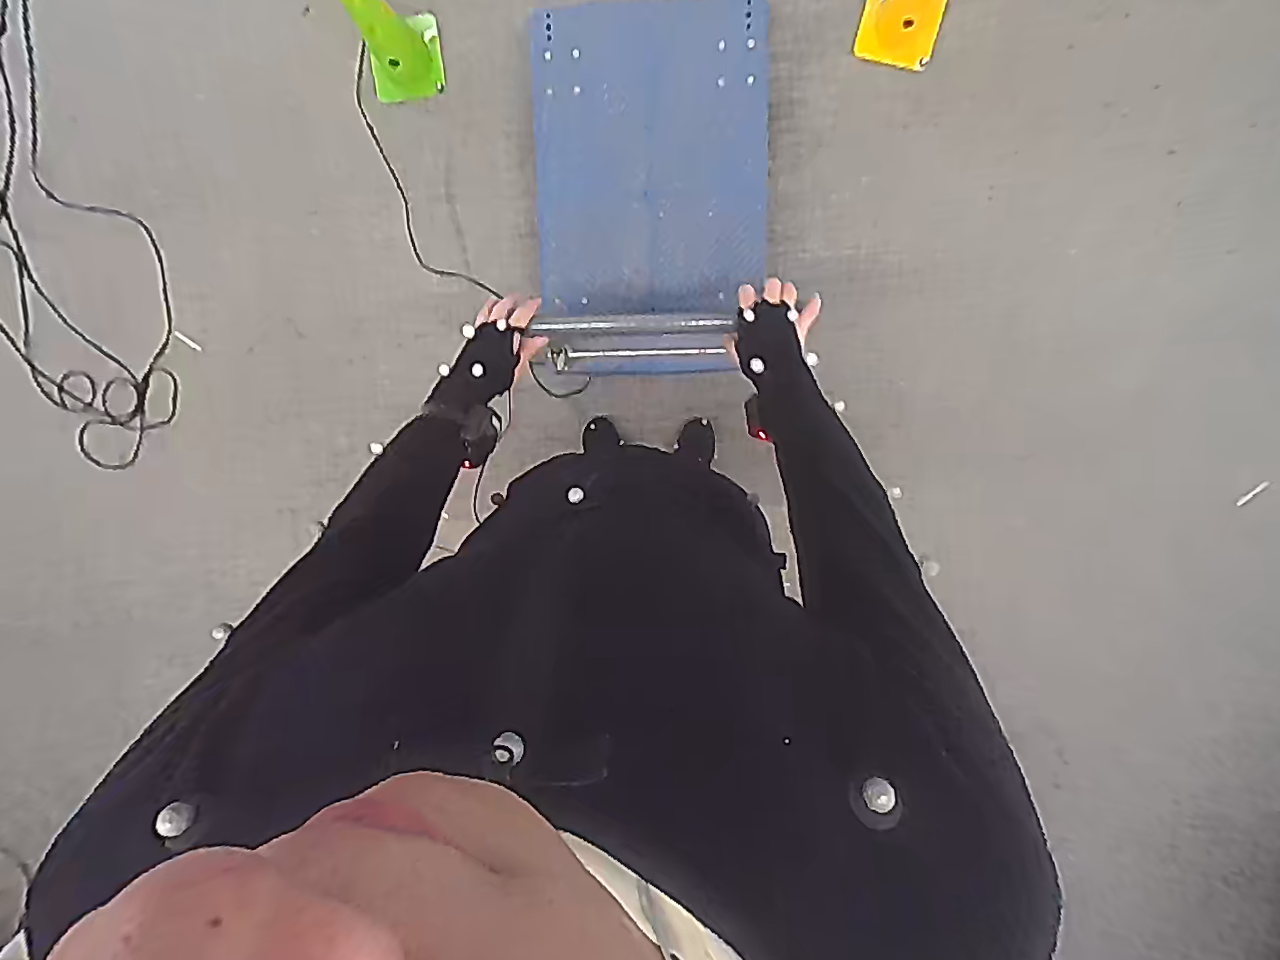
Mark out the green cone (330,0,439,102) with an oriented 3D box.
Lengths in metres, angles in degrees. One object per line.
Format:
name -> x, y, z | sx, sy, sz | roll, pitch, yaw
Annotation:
green cone -> -0.671, -1.130, 1.307 | 0.202, 0.368, 0.200 | -7, 98, 6
